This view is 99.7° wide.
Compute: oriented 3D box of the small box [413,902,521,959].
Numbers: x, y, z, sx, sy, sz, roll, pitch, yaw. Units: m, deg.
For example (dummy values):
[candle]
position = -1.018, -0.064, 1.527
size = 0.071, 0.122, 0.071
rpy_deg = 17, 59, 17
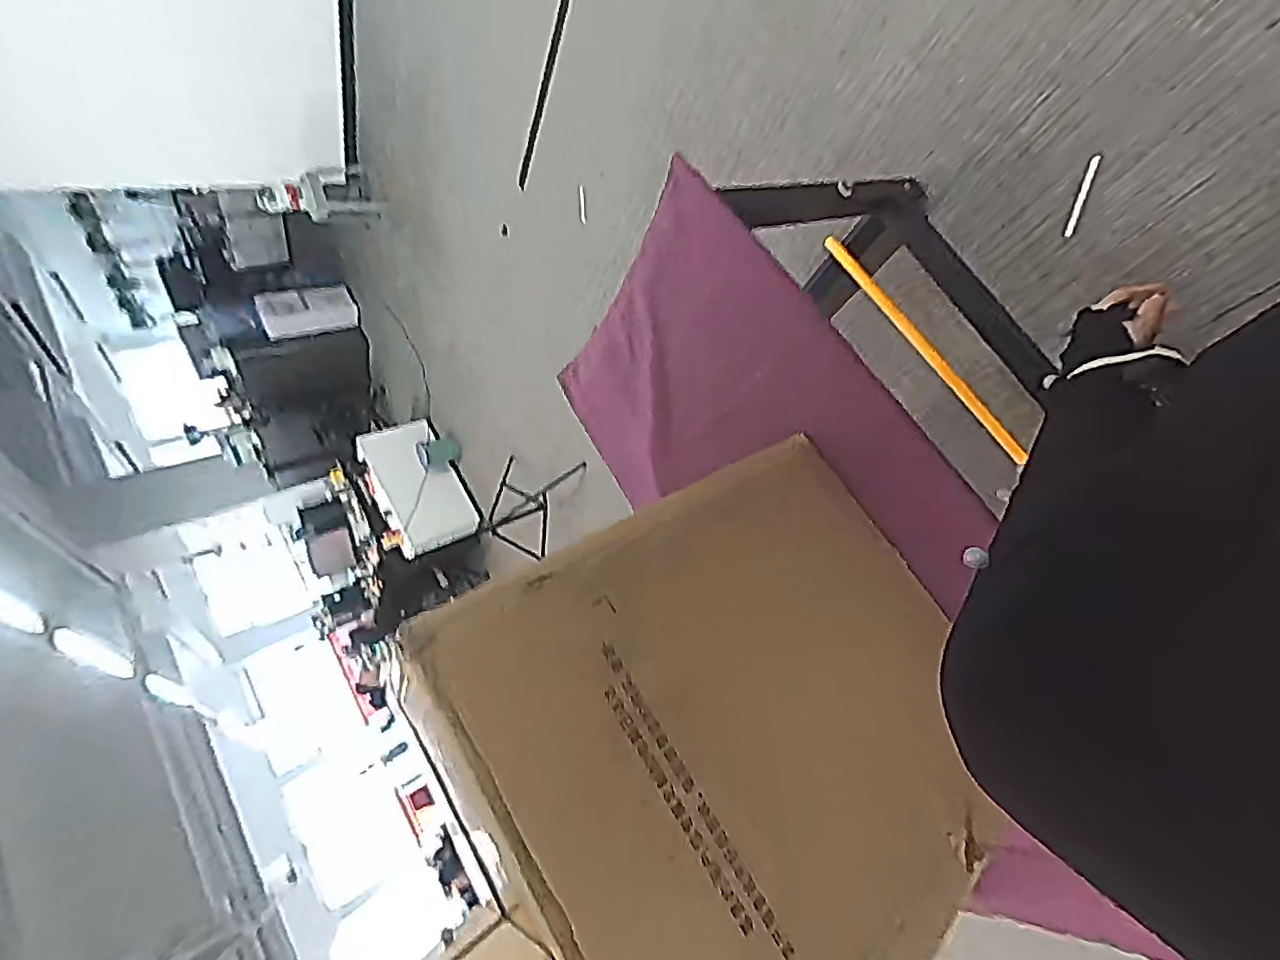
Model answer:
[small box]
position = -0.190, 0.598, 0.566
size = 0.179, 0.176, 0.168
rpy_deg = 56, 144, 17
